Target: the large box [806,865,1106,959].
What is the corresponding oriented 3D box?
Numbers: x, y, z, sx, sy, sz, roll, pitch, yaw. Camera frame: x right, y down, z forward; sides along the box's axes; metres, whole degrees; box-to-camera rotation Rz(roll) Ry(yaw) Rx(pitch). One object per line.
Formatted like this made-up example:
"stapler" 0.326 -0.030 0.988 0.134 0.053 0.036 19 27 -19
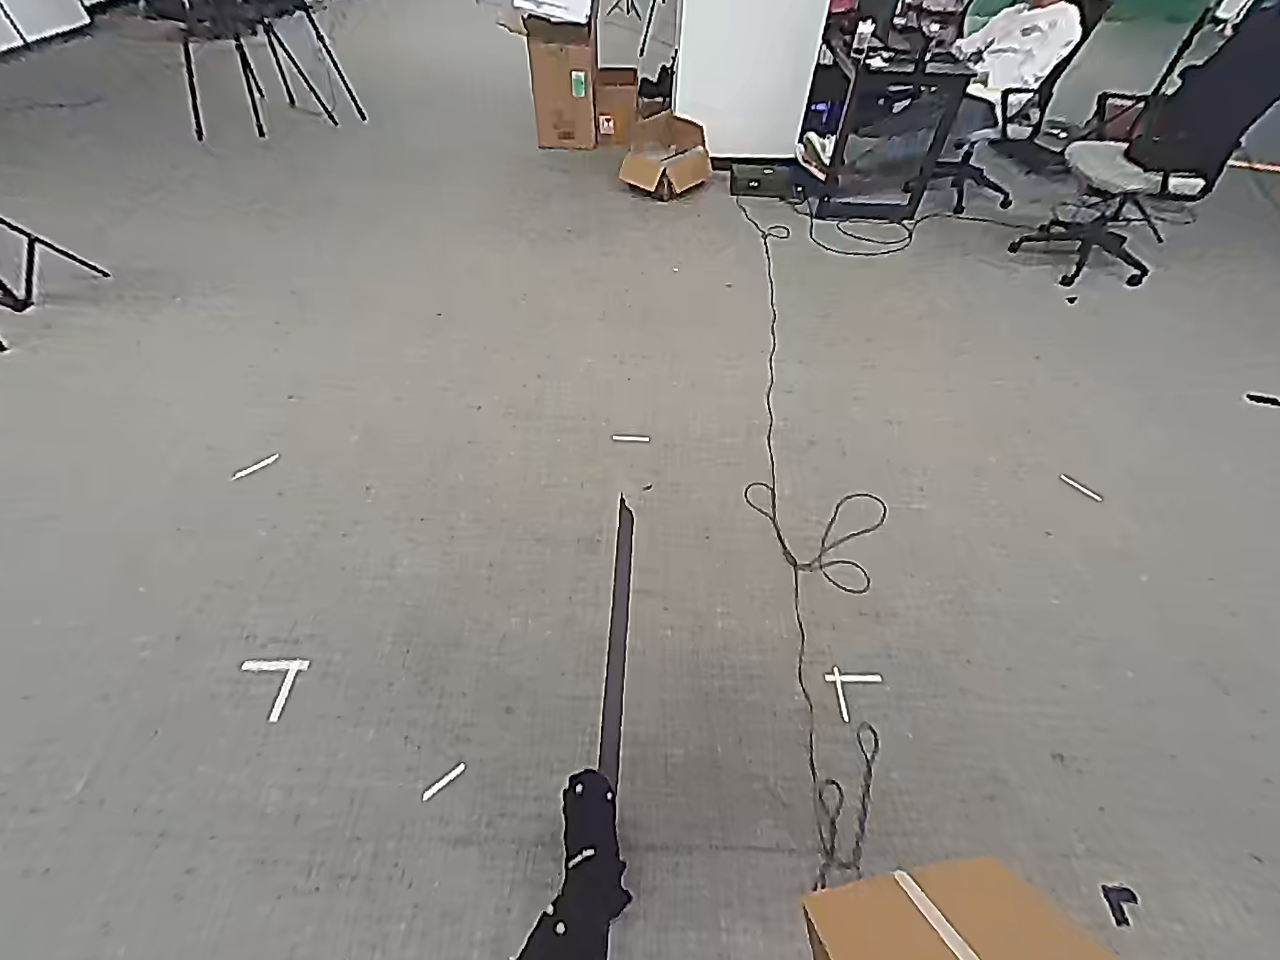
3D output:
"large box" 0.431 0.743 0.617 0.320 0.408 0.320 -10 85 -3
